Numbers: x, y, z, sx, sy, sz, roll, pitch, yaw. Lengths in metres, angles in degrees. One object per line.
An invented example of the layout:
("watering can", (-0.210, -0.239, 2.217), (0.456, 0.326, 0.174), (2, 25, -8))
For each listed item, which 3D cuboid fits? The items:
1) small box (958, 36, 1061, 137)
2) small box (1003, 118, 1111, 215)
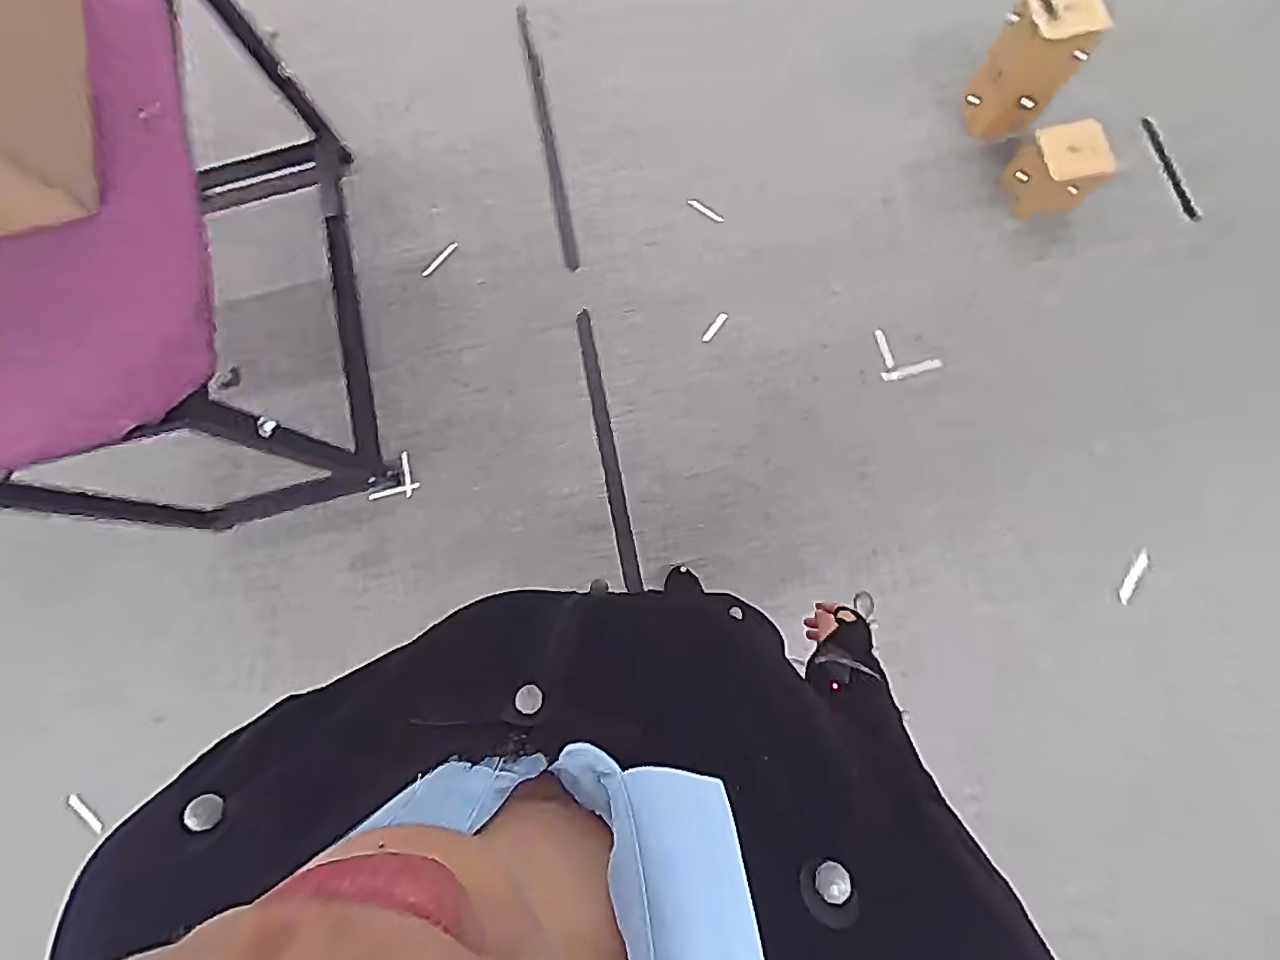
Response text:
("small box", (1.108, -1.182, 1.635), (0.179, 0.176, 0.168), (-10, 79, 2))
("small box", (1.197, -0.903, 1.573), (0.179, 0.176, 0.168), (-9, 80, 1))
